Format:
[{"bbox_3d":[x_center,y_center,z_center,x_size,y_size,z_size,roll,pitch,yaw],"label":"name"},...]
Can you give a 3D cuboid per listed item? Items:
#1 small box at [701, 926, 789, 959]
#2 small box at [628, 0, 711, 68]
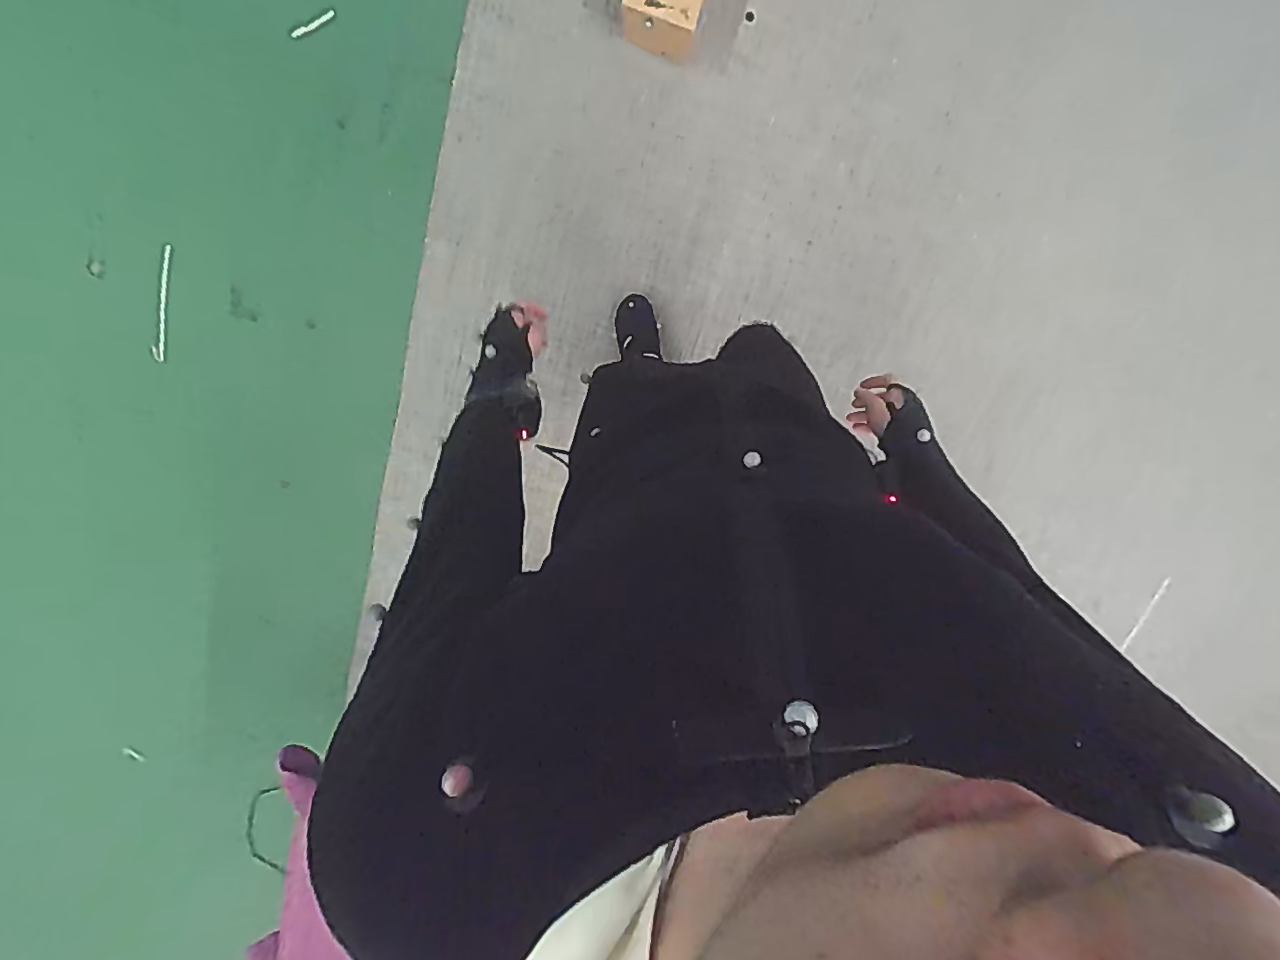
[{"bbox_3d":[0.226,1.093,1.142,0.168,0.176,0.179,12,109,-3],"label":"small box"},{"bbox_3d":[0.074,-1.091,1.224,0.168,0.176,0.179,17,105,-5],"label":"small box"}]
